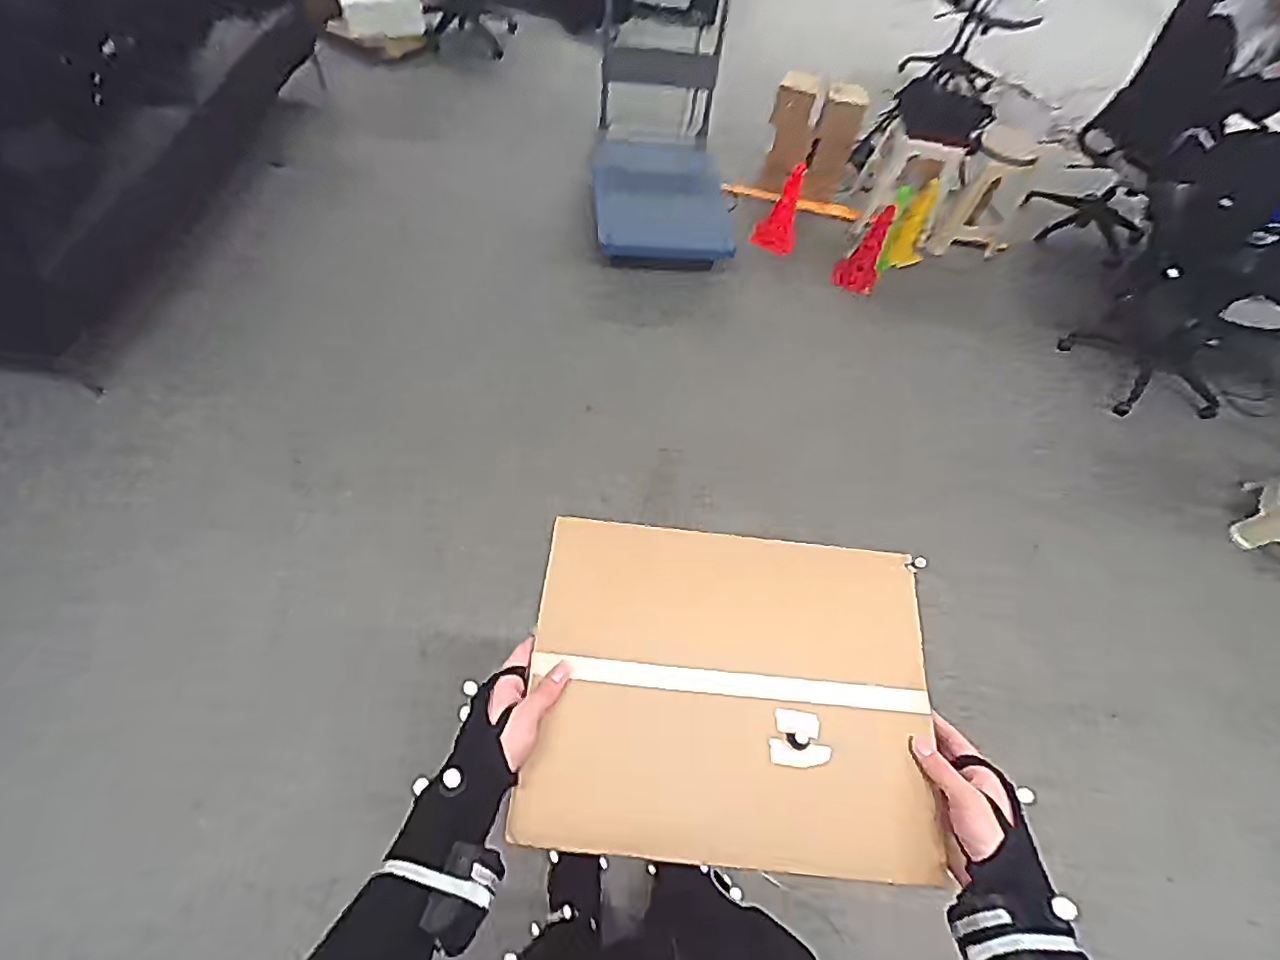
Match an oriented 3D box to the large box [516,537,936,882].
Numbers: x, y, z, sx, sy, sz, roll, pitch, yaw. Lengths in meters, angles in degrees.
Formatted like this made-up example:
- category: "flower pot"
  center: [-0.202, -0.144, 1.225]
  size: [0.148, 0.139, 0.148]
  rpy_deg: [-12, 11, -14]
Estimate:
- category: "large box"
  center: [0.081, 0.281, 0.695]
  size: [0.408, 0.320, 0.320]
  rpy_deg: [6, 67, -1]
